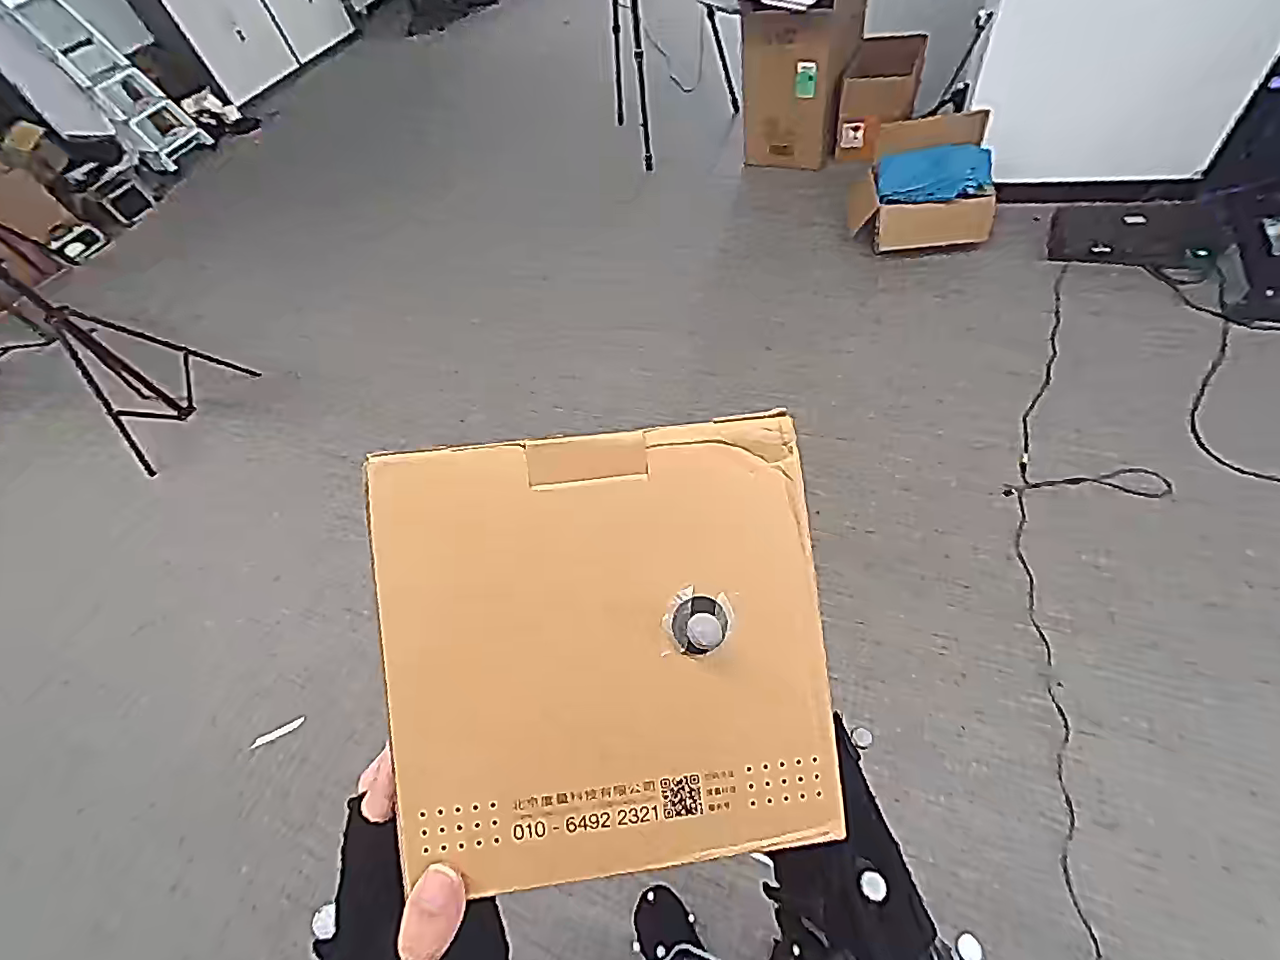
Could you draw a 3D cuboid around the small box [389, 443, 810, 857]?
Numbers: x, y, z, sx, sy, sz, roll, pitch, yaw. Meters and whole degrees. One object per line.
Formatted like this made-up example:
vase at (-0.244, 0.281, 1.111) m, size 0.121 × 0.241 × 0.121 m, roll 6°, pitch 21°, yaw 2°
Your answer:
small box at (-0.017, 0.079, 0.305) m, size 0.168 × 0.179 × 0.176 m, roll -6°, pitch 88°, yaw -3°
